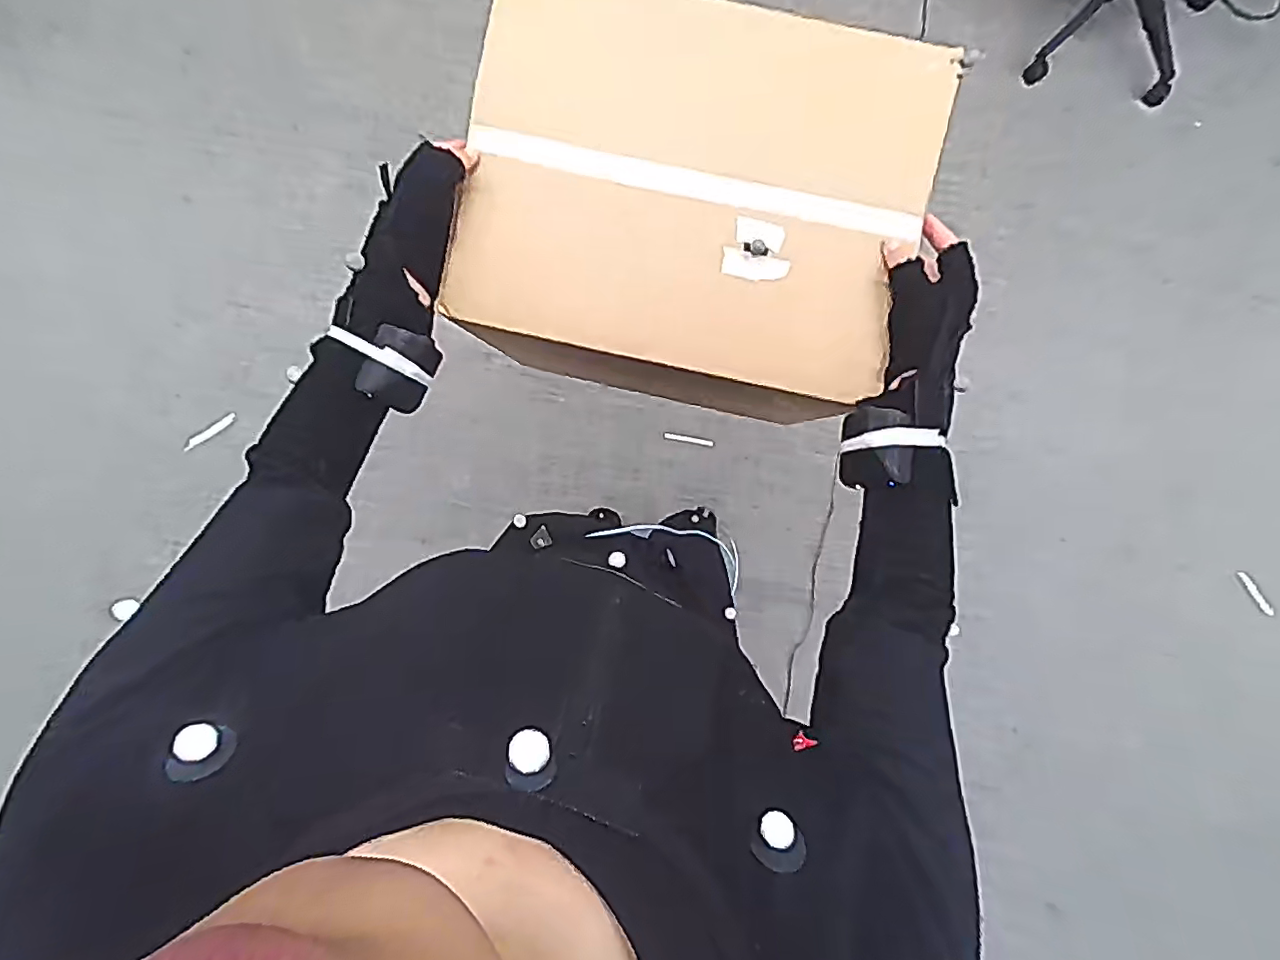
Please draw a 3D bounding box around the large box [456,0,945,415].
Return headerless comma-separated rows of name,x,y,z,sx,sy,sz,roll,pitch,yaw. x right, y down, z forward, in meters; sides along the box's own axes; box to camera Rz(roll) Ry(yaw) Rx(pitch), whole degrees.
large box,0.051,-0.274,0.641,0.408,0.320,0.320,13,94,0
